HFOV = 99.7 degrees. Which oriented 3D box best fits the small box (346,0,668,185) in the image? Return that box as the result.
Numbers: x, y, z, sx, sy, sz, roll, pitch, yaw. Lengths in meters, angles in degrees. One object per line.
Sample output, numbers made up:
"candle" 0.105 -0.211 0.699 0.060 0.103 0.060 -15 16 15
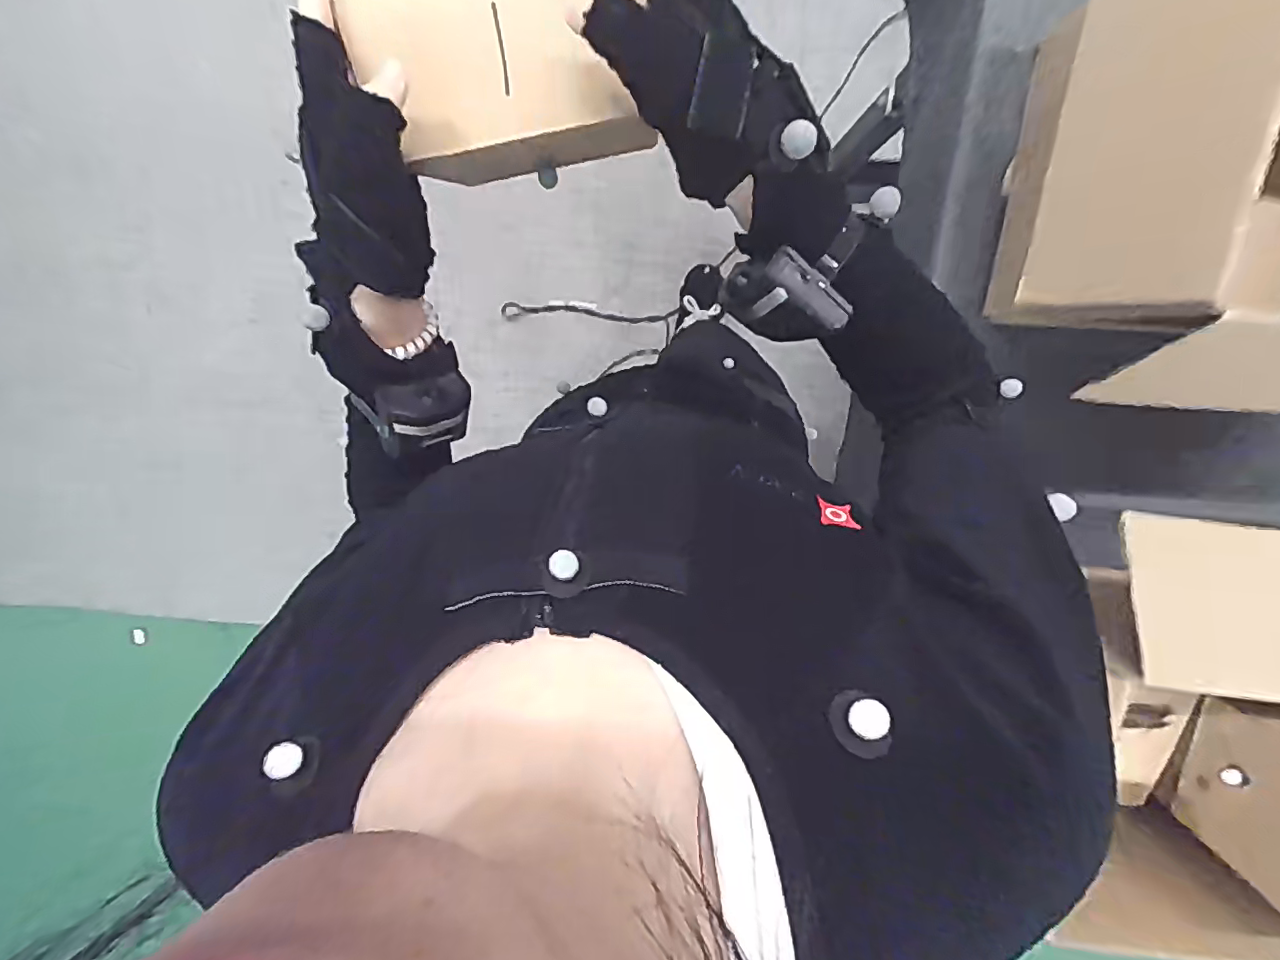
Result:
"small box" -0.079 -0.308 0.349 0.168 0.176 0.179 -9 114 3
